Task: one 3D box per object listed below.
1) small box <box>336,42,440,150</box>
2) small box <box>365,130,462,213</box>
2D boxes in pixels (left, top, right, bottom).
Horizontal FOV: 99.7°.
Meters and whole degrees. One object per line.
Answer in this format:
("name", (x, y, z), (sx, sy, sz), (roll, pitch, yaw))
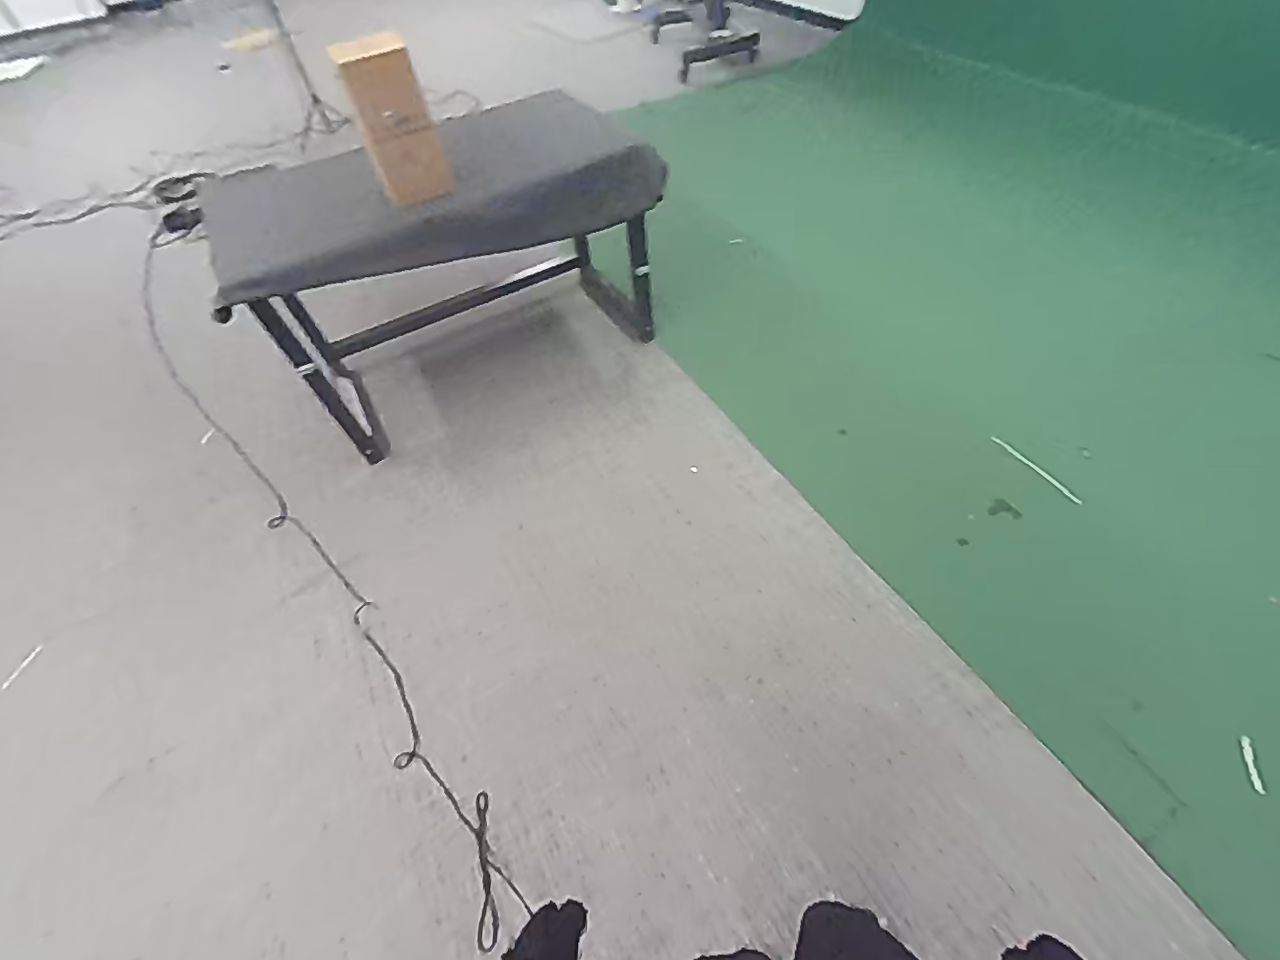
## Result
("small box", (-0.633, -0.968, 1.367), (0.168, 0.176, 0.179), (-28, 56, -13))
("small box", (-0.619, -0.867, 1.493), (0.179, 0.176, 0.168), (-27, 55, -15))
